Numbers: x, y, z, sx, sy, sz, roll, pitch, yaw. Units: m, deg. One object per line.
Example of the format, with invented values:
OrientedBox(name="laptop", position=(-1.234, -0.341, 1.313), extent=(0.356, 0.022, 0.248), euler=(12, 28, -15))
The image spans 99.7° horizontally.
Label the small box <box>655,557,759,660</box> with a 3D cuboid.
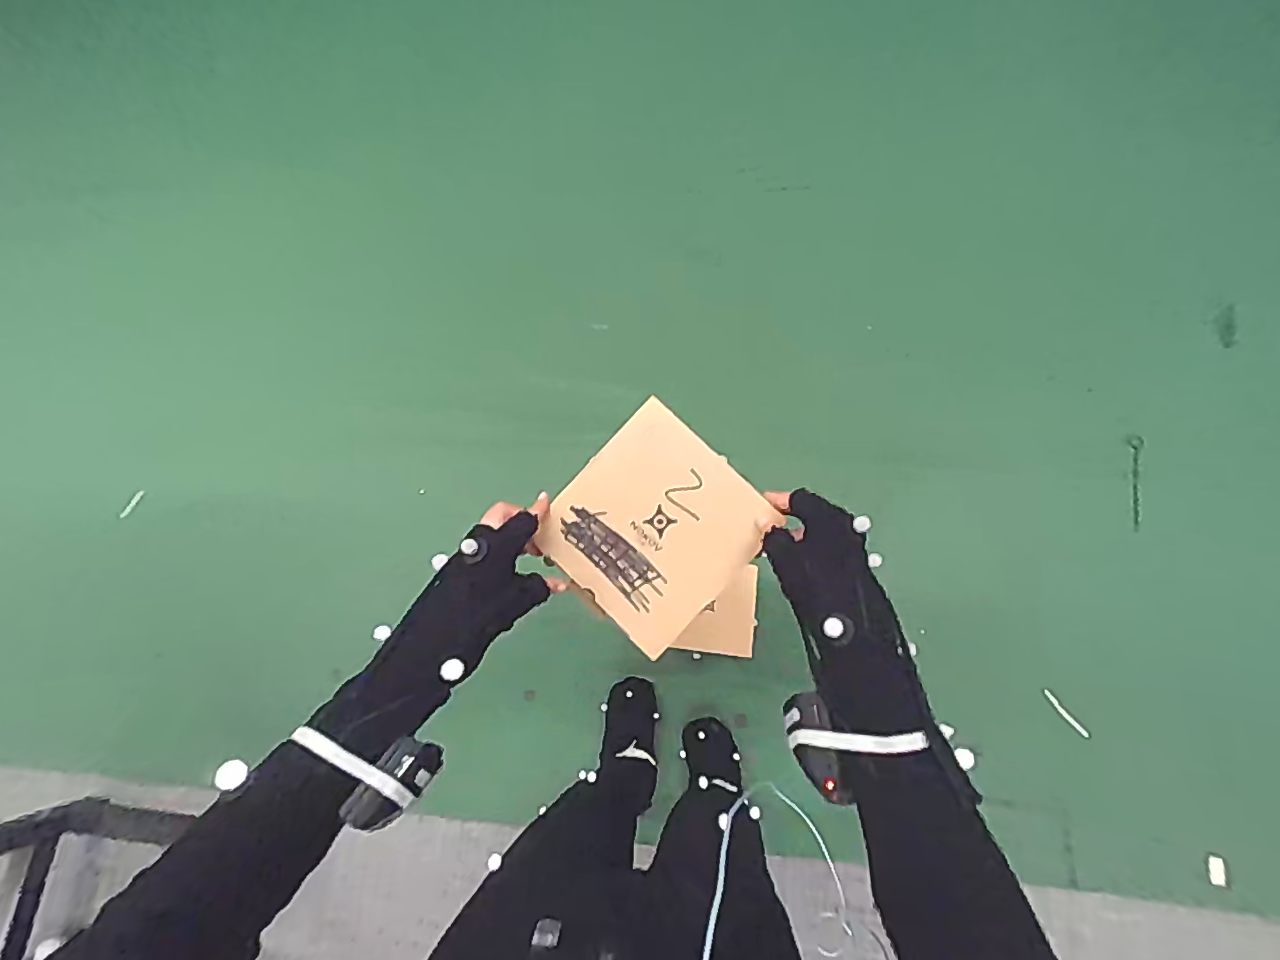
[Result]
OrientedBox(name="small box", position=(0.129, 0.247, 1.057), extent=(0.179, 0.176, 0.168), euler=(6, 77, 7))
